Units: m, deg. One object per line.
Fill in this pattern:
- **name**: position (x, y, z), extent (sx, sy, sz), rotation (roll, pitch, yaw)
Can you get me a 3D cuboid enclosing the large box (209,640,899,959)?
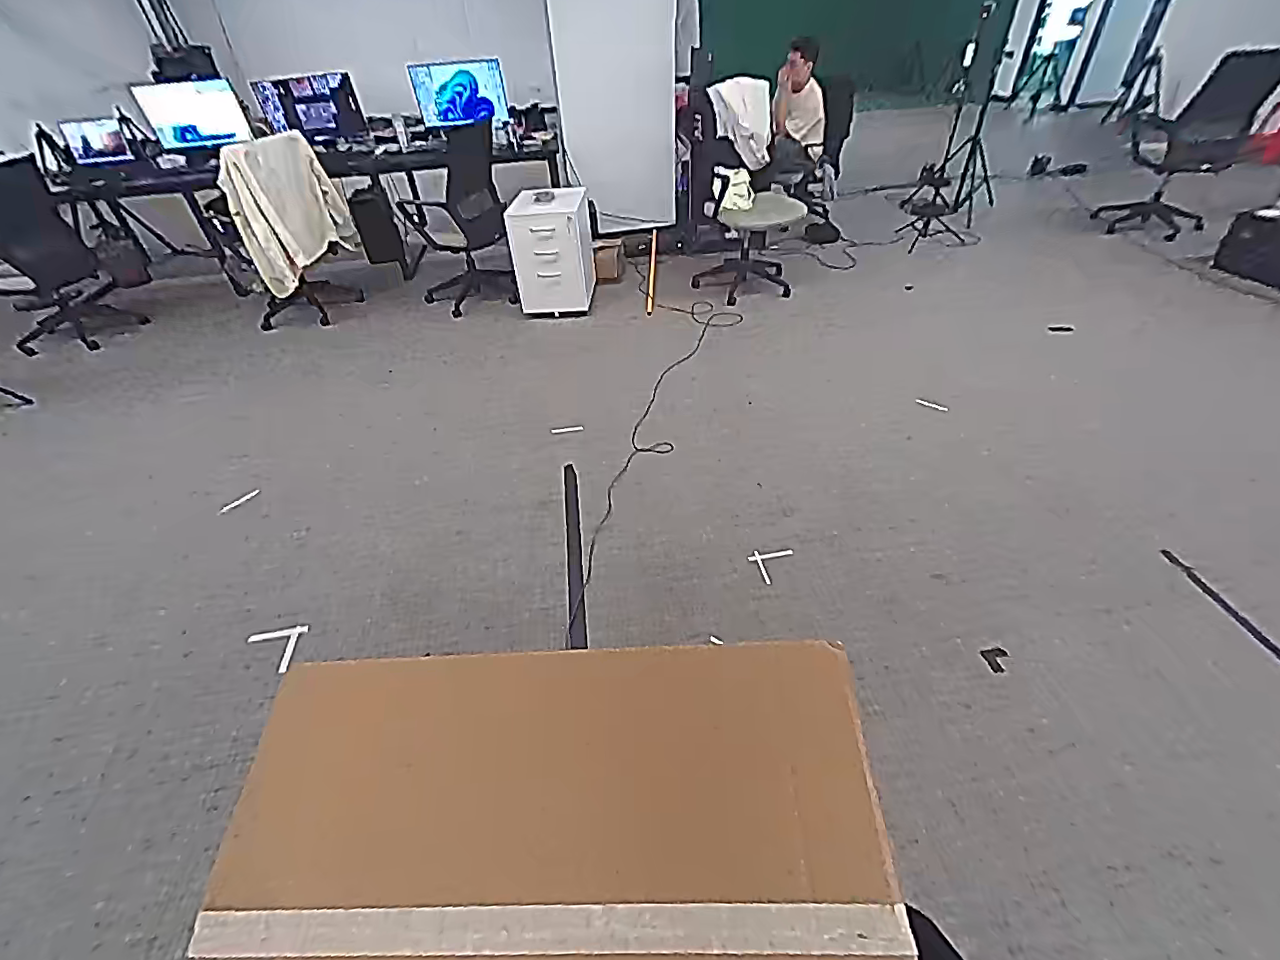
- **large box**: position (-0.043, 0.342, 0.437), extent (0.408, 0.320, 0.320), rotation (-4, 55, 5)
